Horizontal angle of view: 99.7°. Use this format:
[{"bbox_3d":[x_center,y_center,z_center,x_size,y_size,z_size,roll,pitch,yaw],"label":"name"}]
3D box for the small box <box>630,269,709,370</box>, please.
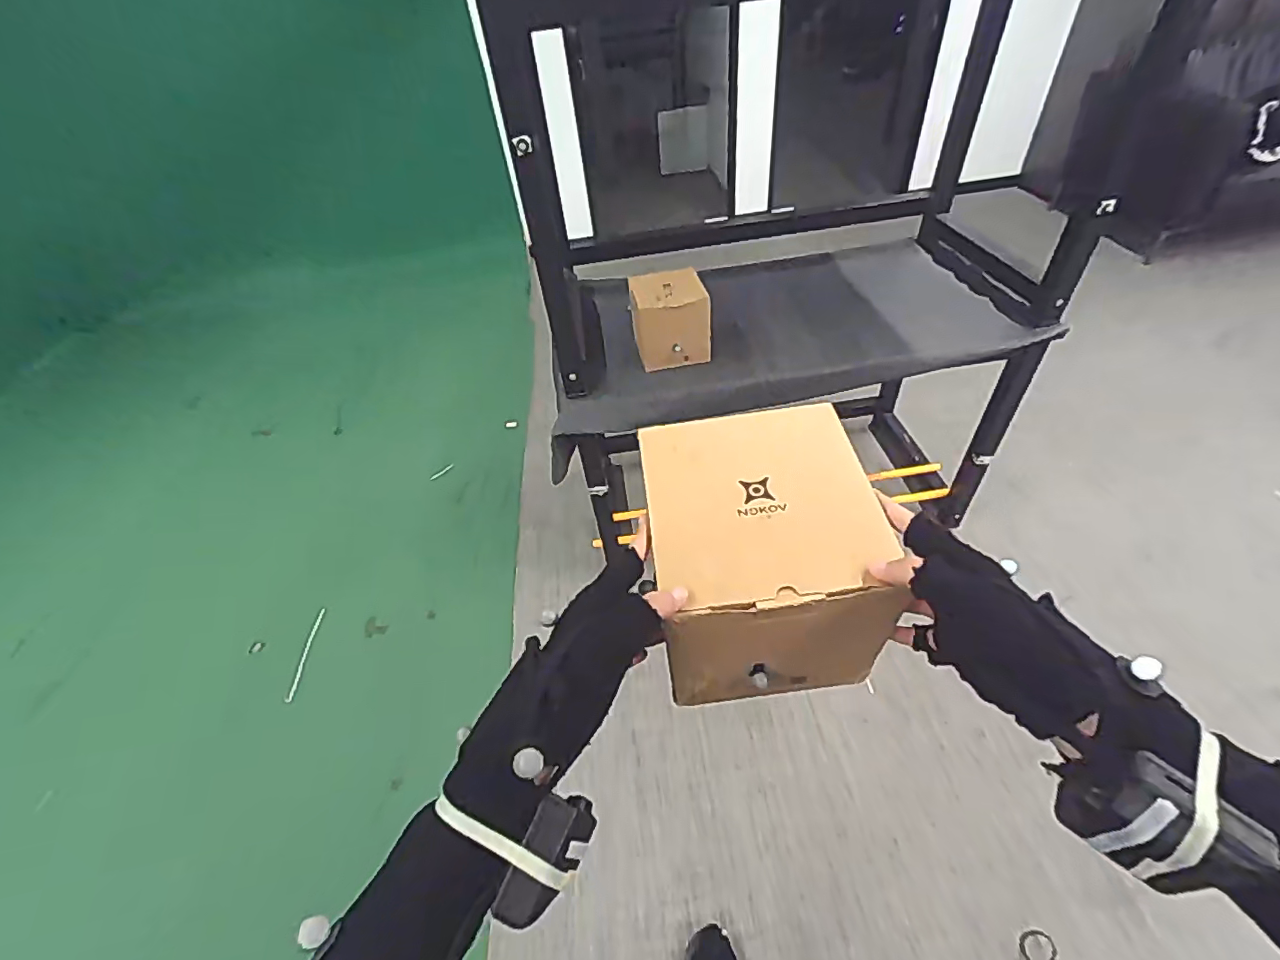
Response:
[{"bbox_3d":[0.072,-0.395,1.335,0.168,0.176,0.179,-10,45,-2],"label":"small box"}]
